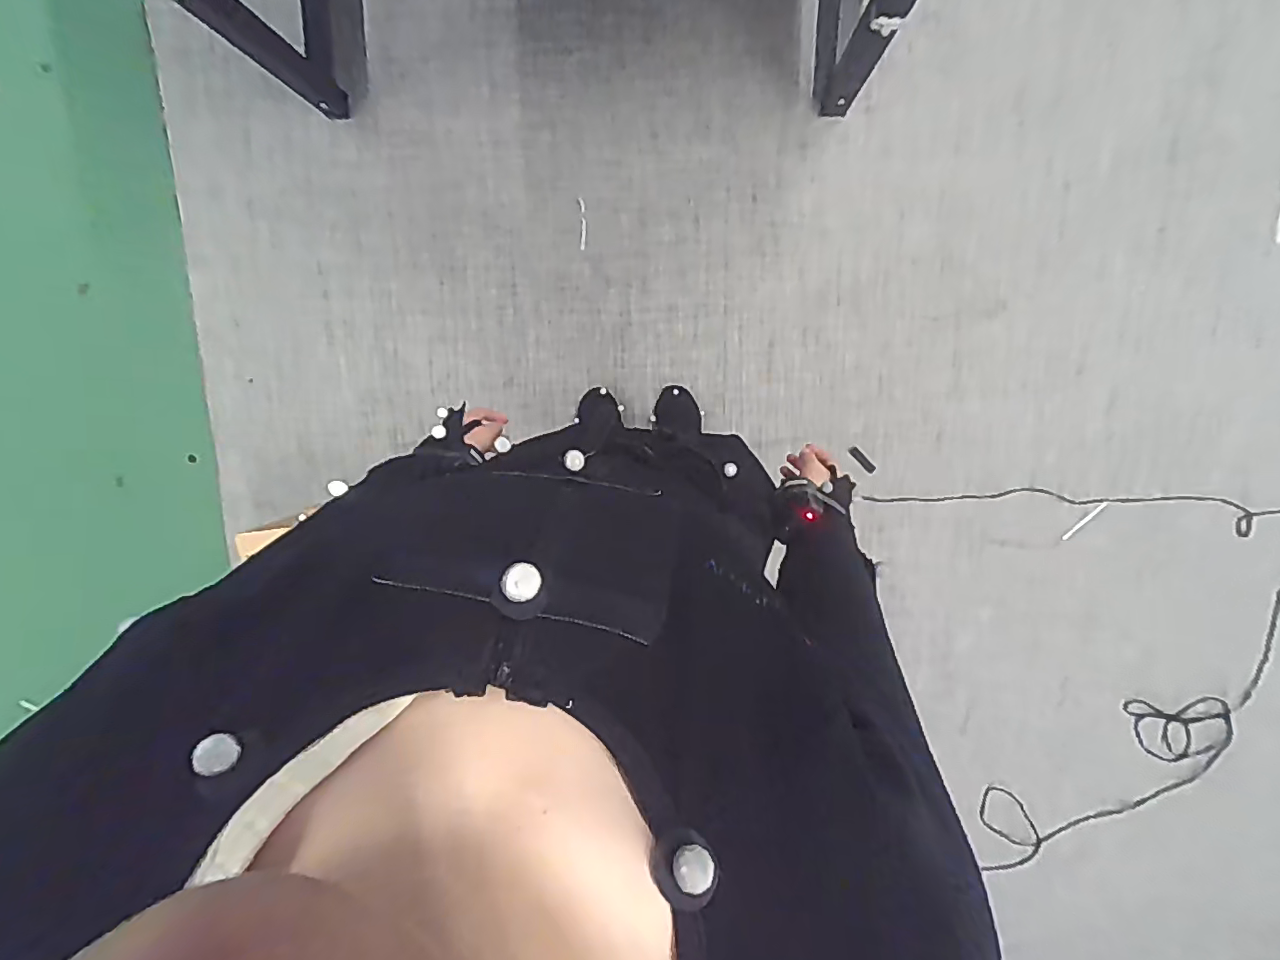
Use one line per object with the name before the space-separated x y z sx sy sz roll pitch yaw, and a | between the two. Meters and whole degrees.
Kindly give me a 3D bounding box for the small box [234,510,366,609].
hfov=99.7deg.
small box | -0.731 0.168 1.188 0.179 0.176 0.168 -7 98 4
